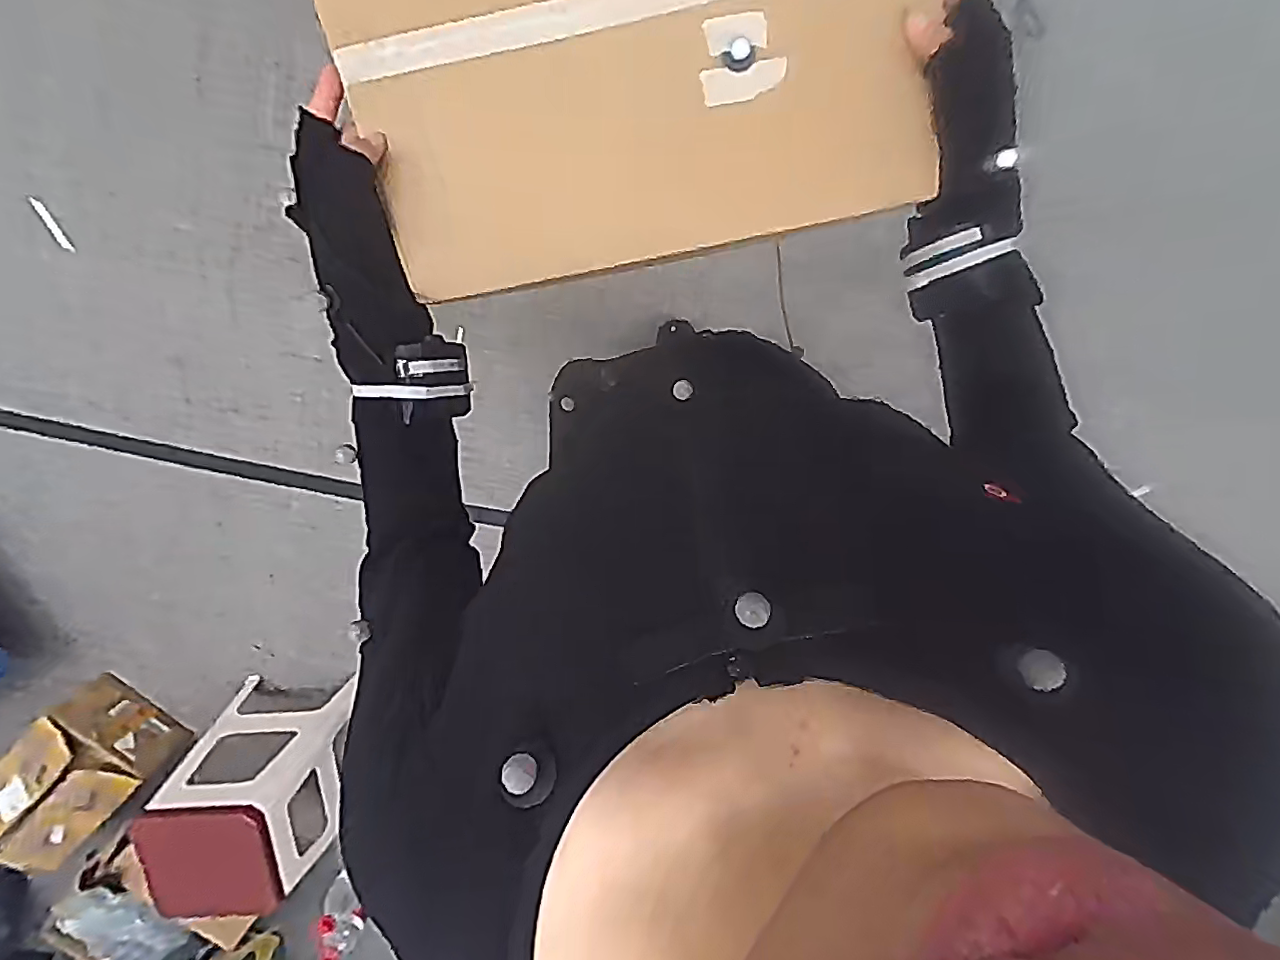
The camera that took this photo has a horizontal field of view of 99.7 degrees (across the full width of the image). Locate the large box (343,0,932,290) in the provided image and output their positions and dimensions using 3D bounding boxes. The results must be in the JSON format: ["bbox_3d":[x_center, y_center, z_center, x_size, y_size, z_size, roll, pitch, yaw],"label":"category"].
[{"bbox_3d":[-0.006,-0.378,0.510,0.408,0.320,0.320,-10,110,2],"label":"large box"}]
